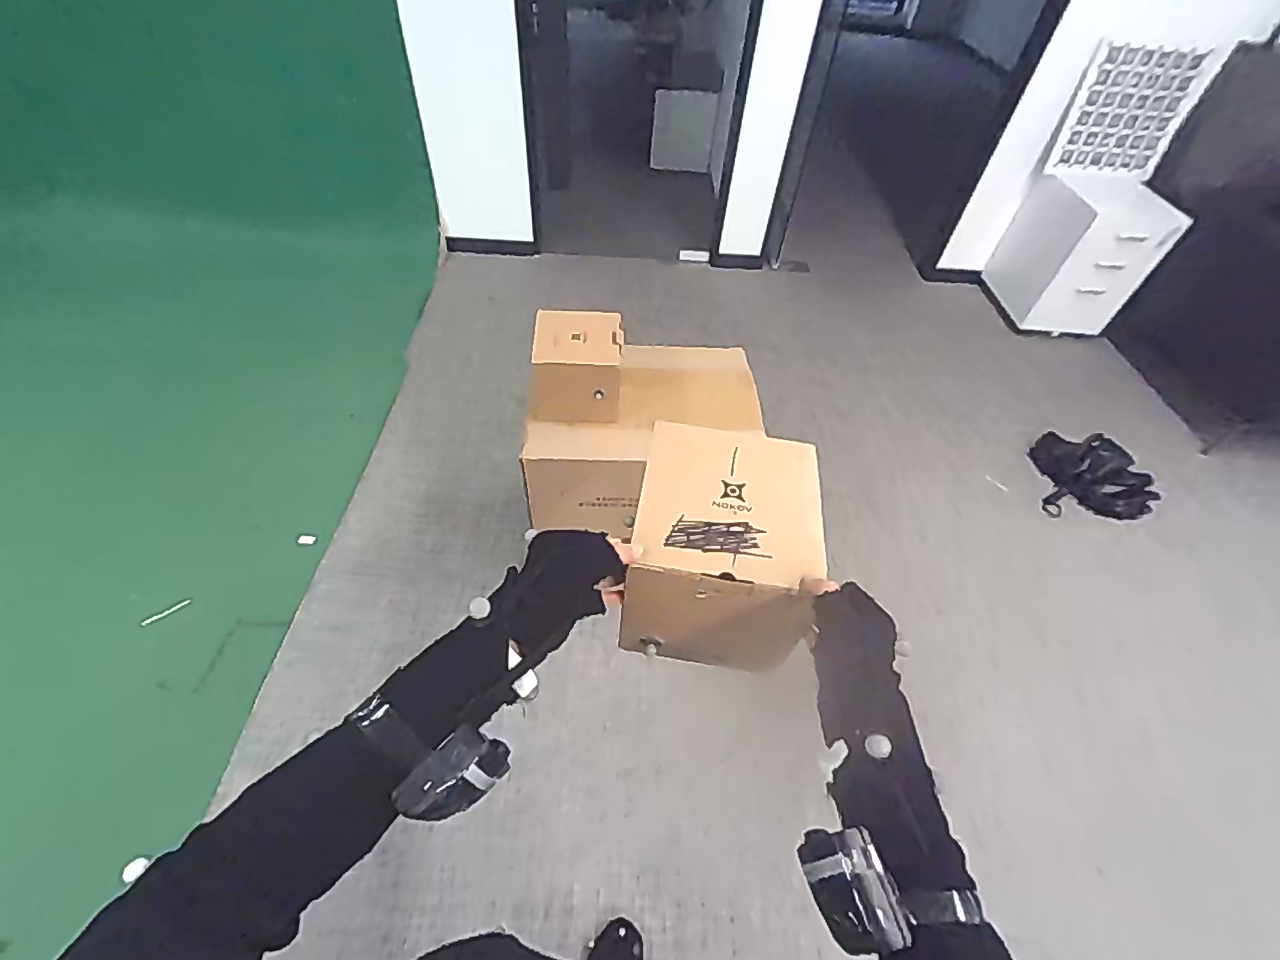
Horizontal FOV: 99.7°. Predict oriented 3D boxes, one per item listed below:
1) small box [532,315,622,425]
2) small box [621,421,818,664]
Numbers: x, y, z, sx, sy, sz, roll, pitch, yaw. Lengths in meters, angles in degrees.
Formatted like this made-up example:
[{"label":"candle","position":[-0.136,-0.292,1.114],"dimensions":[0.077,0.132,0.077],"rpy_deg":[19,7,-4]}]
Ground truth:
[{"label":"small box","position":[-0.129,-0.231,1.160],"dimensions":[0.179,0.176,0.168],"rpy_deg":[-1,53,-3]},{"label":"small box","position":[0.075,0.068,0.558],"dimensions":[0.168,0.176,0.179],"rpy_deg":[9,48,3]}]
